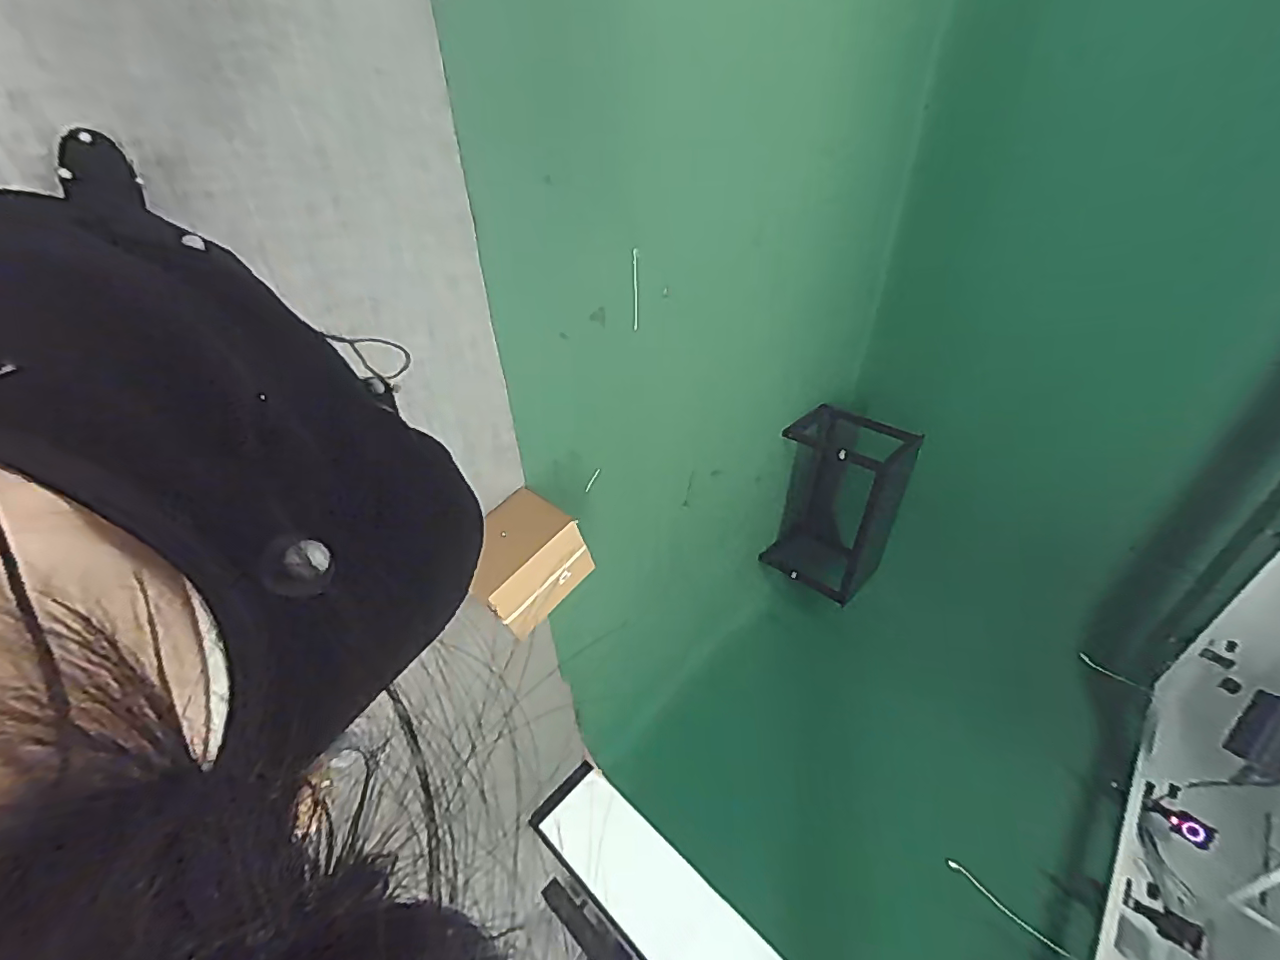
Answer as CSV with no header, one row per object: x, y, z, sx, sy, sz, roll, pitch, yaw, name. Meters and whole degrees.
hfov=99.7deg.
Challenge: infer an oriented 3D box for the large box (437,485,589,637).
-0.467,0.296,2.041,0.408,0.320,0.320,-45,144,-25,large box
